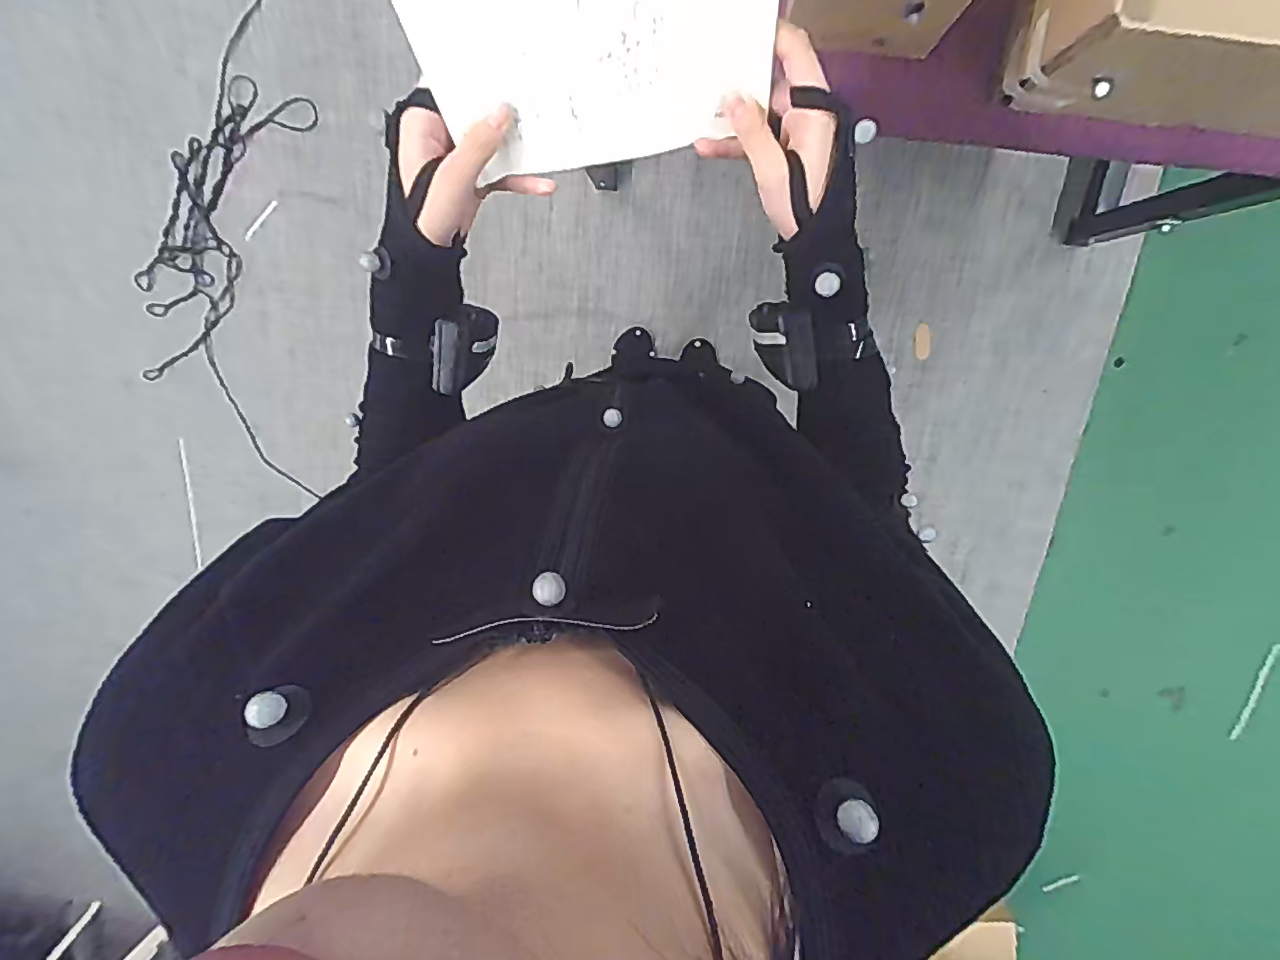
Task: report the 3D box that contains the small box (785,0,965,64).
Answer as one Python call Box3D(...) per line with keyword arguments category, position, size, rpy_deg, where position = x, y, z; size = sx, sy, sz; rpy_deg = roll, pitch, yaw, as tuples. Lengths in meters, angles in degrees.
Box3D(category="small box", position=(0.248, -0.551, 0.530), size=(0.168, 0.176, 0.179), rpy_deg=(9, 103, 2))
